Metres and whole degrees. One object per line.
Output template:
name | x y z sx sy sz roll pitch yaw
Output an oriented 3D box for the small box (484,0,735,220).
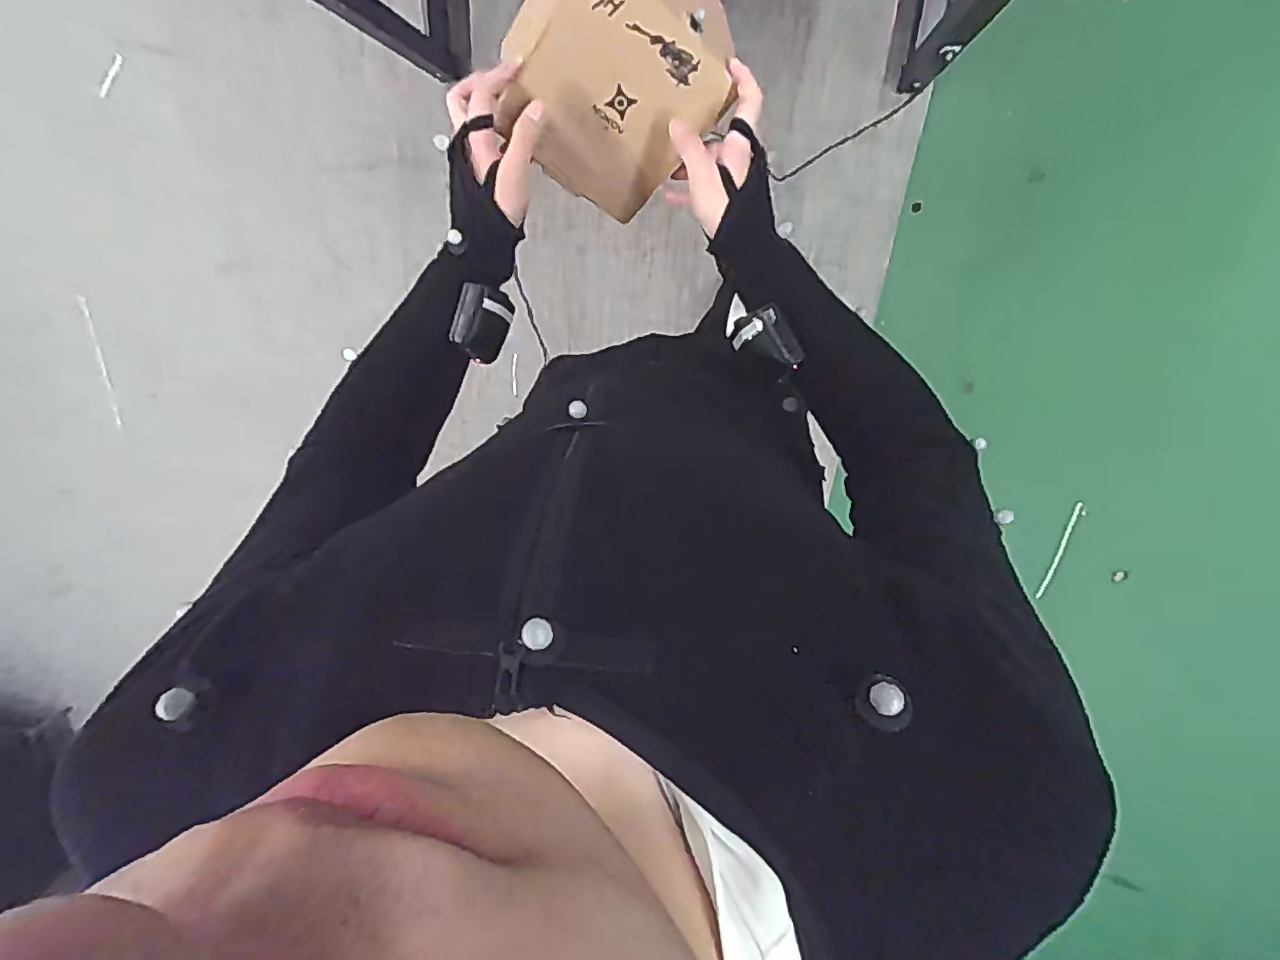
small box | -0.029 -0.411 0.530 0.168 0.176 0.179 22 143 -37
